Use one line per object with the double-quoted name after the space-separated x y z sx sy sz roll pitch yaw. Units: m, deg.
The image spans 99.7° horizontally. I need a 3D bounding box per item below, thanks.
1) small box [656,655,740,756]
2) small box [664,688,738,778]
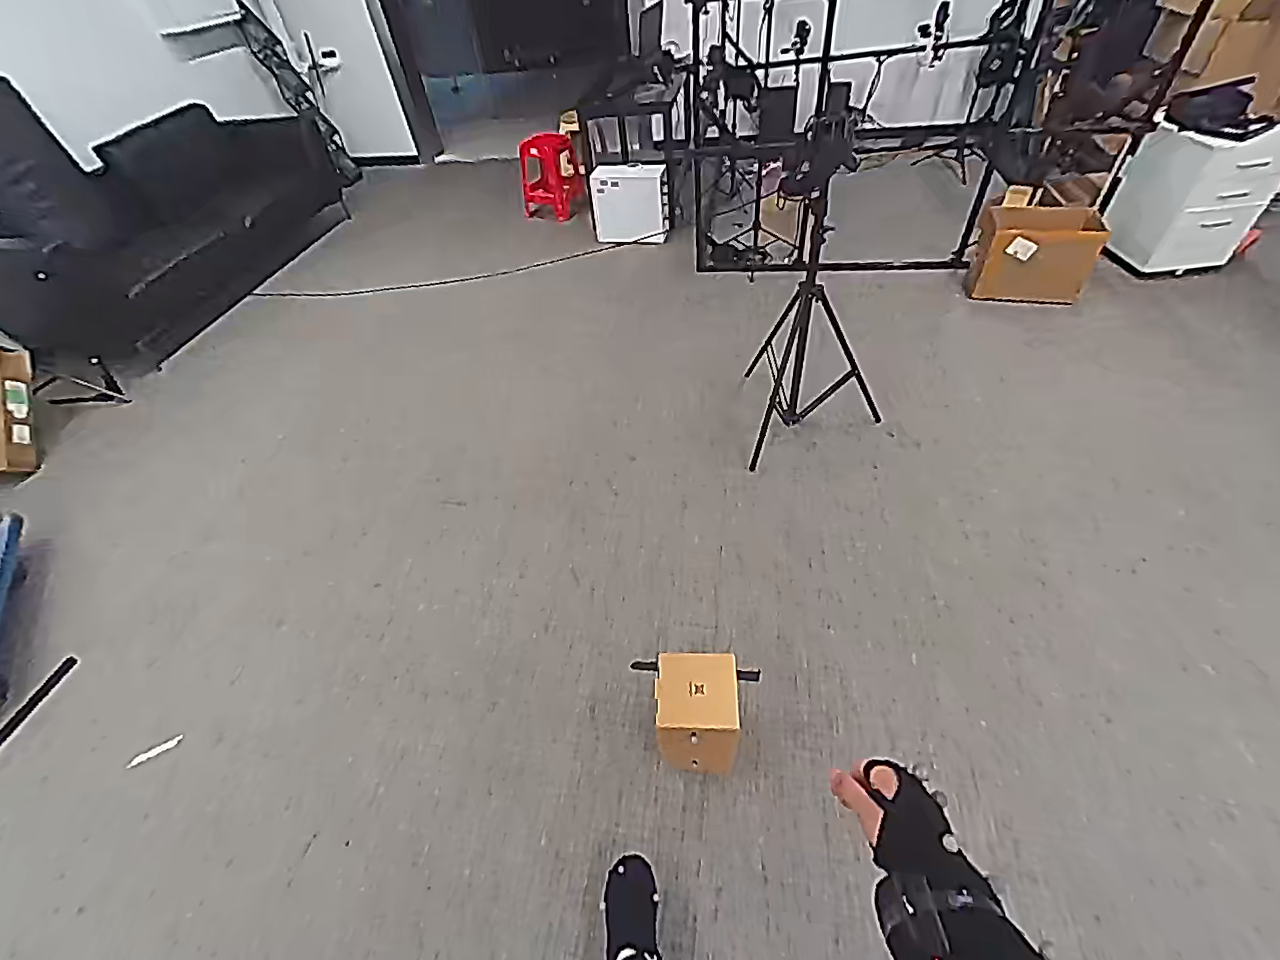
0.131 0.513 1.227 0.179 0.176 0.168 -2 46 7 "small box"
0.154 0.619 1.349 0.168 0.176 0.179 5 47 12 "small box"
